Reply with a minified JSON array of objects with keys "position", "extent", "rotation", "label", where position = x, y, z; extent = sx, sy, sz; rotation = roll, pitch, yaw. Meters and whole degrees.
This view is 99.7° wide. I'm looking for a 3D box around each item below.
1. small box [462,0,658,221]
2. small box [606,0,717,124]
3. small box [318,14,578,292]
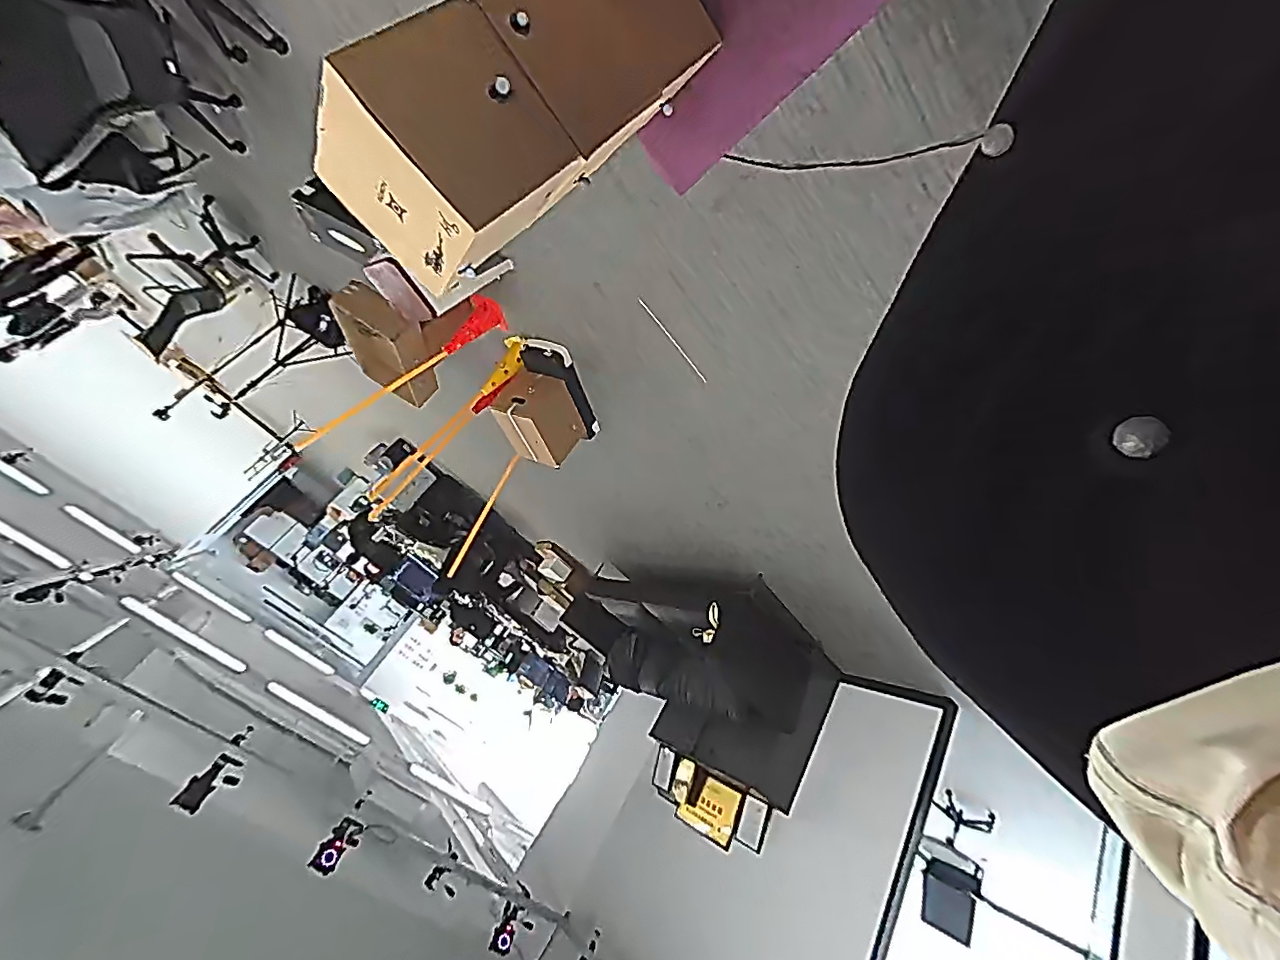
[{"position":[-0.111,-0.460,0.650],"extent":[0.179,0.176,0.168],"rotation":[49,152,-22],"label":"small box"},{"position":[-0.033,-0.584,0.720],"extent":[0.179,0.176,0.168],"rotation":[47,152,-22],"label":"small box"},{"position":[-0.203,-0.344,0.578],"extent":[0.179,0.176,0.168],"rotation":[48,153,-20],"label":"small box"}]
